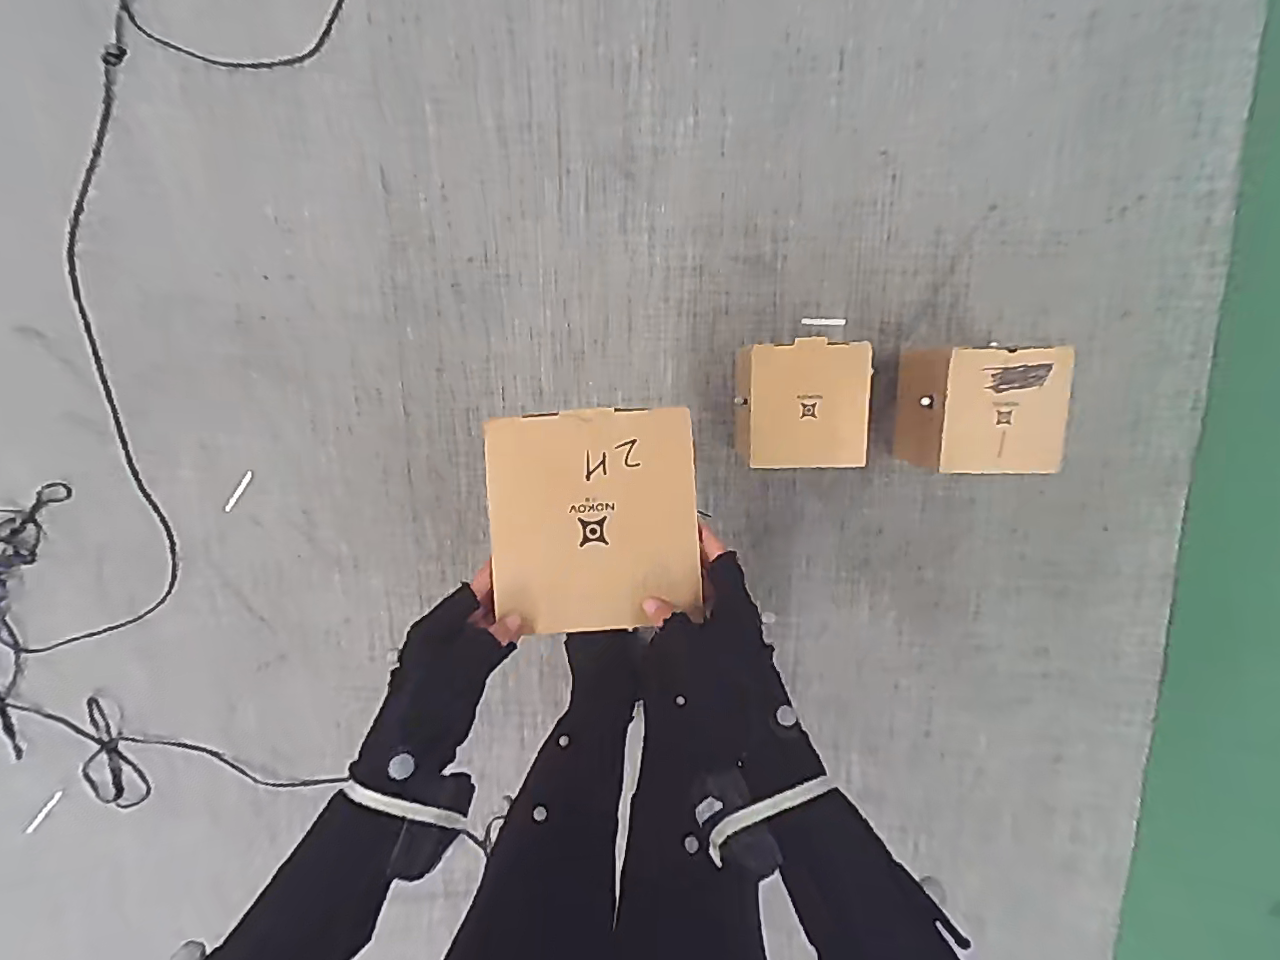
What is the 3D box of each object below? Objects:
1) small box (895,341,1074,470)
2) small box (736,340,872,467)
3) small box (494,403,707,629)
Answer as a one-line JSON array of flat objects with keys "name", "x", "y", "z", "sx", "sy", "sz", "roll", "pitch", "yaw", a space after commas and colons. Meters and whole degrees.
[{"name": "small box", "x": 0.506, "y": -0.113, "z": 0.820, "sx": 0.168, "sy": 0.176, "sz": 0.179, "roll": -1, "pitch": 101, "yaw": 3}, {"name": "small box", "x": 0.243, "y": -0.120, "z": 0.835, "sx": 0.168, "sy": 0.176, "sz": 0.179, "roll": -1, "pitch": 100, "yaw": 3}, {"name": "small box", "x": -0.033, "y": 0.028, "z": 0.512, "sx": 0.168, "sy": 0.176, "sz": 0.179, "roll": -4, "pitch": 90, "yaw": -2}]
